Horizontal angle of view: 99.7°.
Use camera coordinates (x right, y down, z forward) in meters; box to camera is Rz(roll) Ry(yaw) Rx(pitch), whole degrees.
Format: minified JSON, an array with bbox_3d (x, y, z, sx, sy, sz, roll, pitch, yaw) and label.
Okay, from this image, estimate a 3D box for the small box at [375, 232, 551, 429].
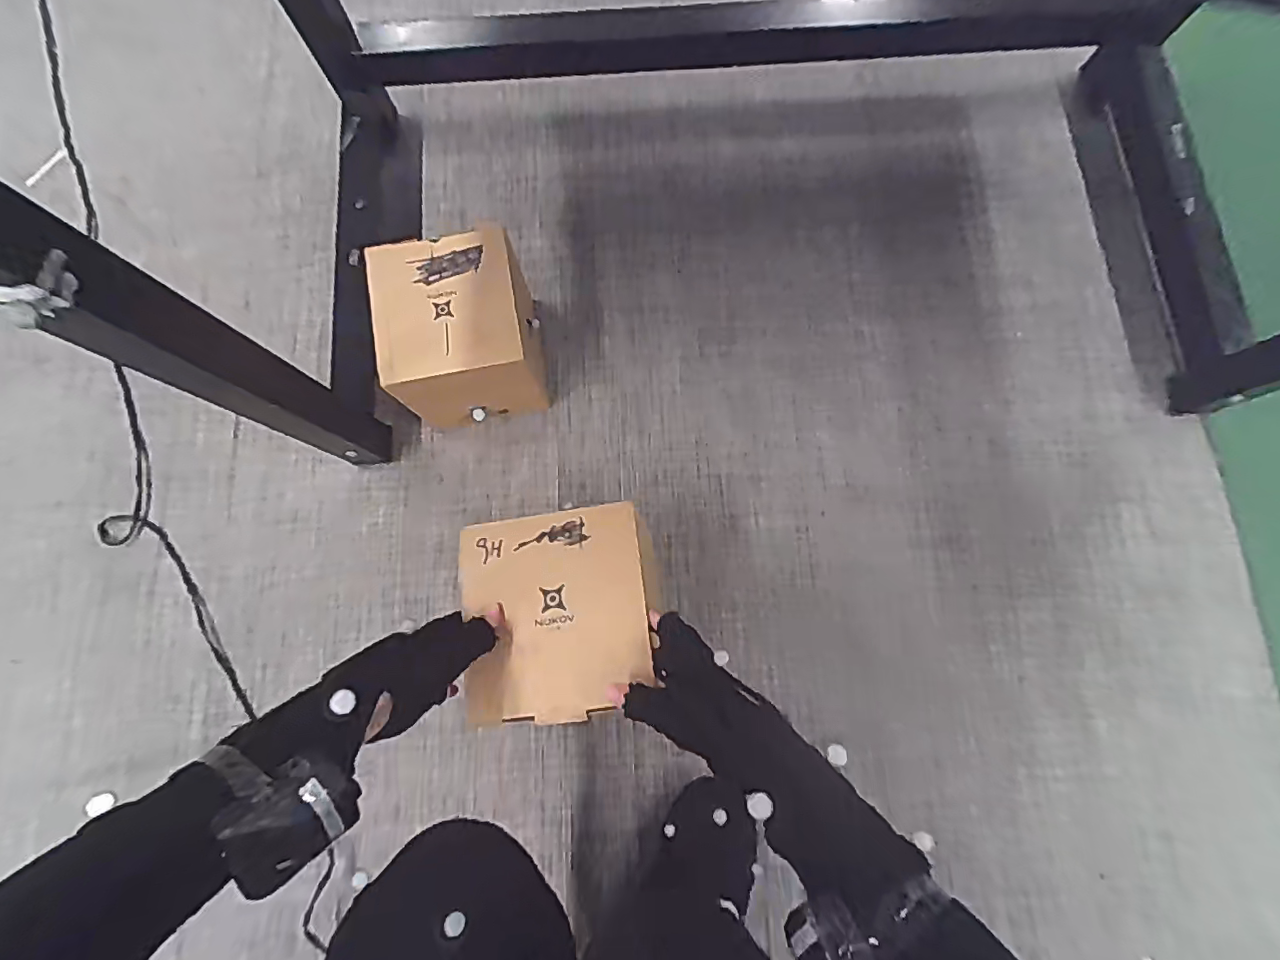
[{"bbox_3d":[-0.219,-0.183,0.702,0.168,0.176,0.179,-11,79,-2],"label":"small box"}]
